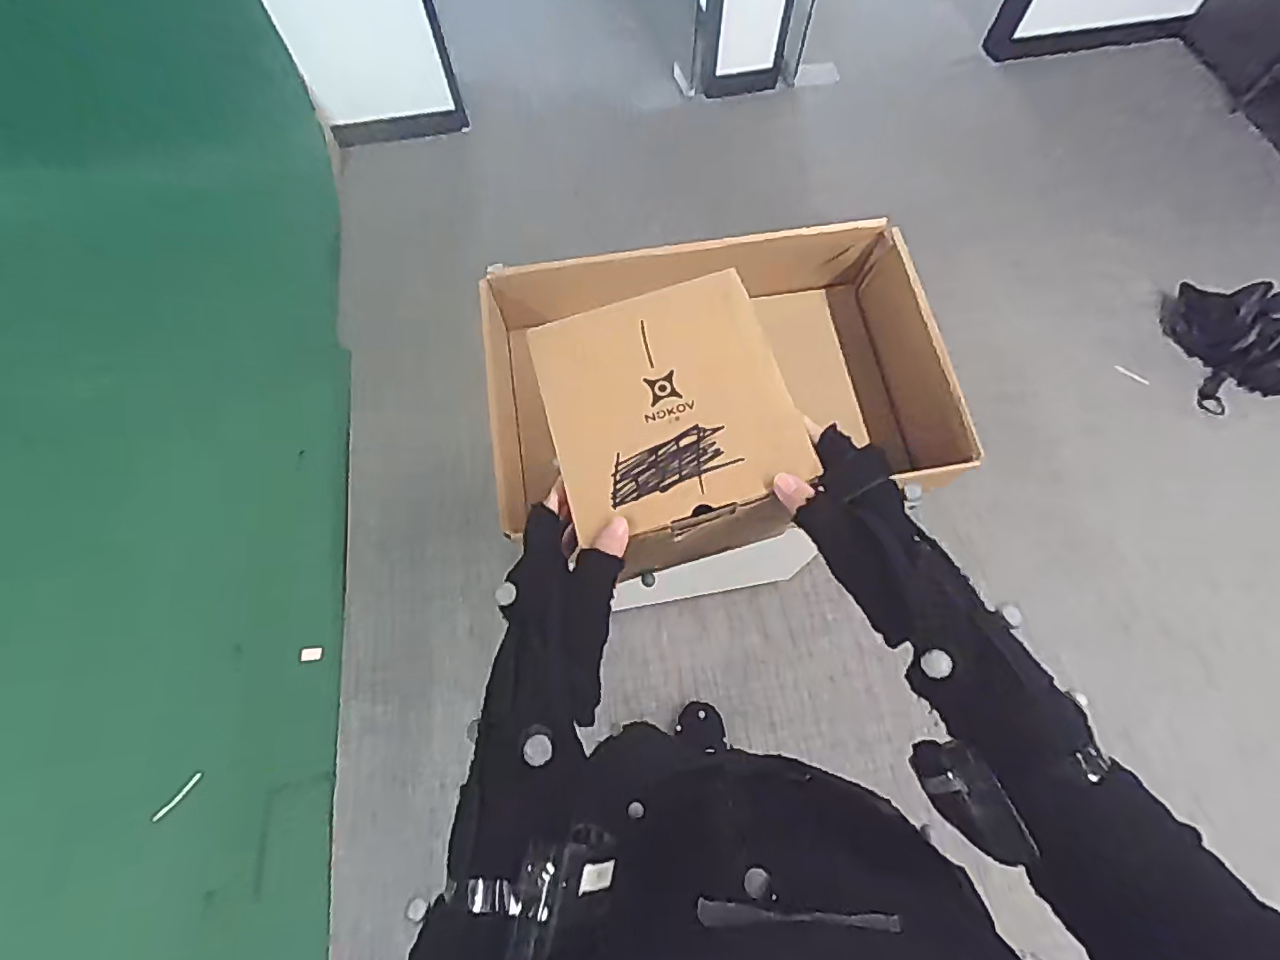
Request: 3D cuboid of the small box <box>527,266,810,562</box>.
[{"bbox_3d":[0.022,-0.037,0.457,0.168,0.176,0.179,-17,71,0],"label":"small box"}]
